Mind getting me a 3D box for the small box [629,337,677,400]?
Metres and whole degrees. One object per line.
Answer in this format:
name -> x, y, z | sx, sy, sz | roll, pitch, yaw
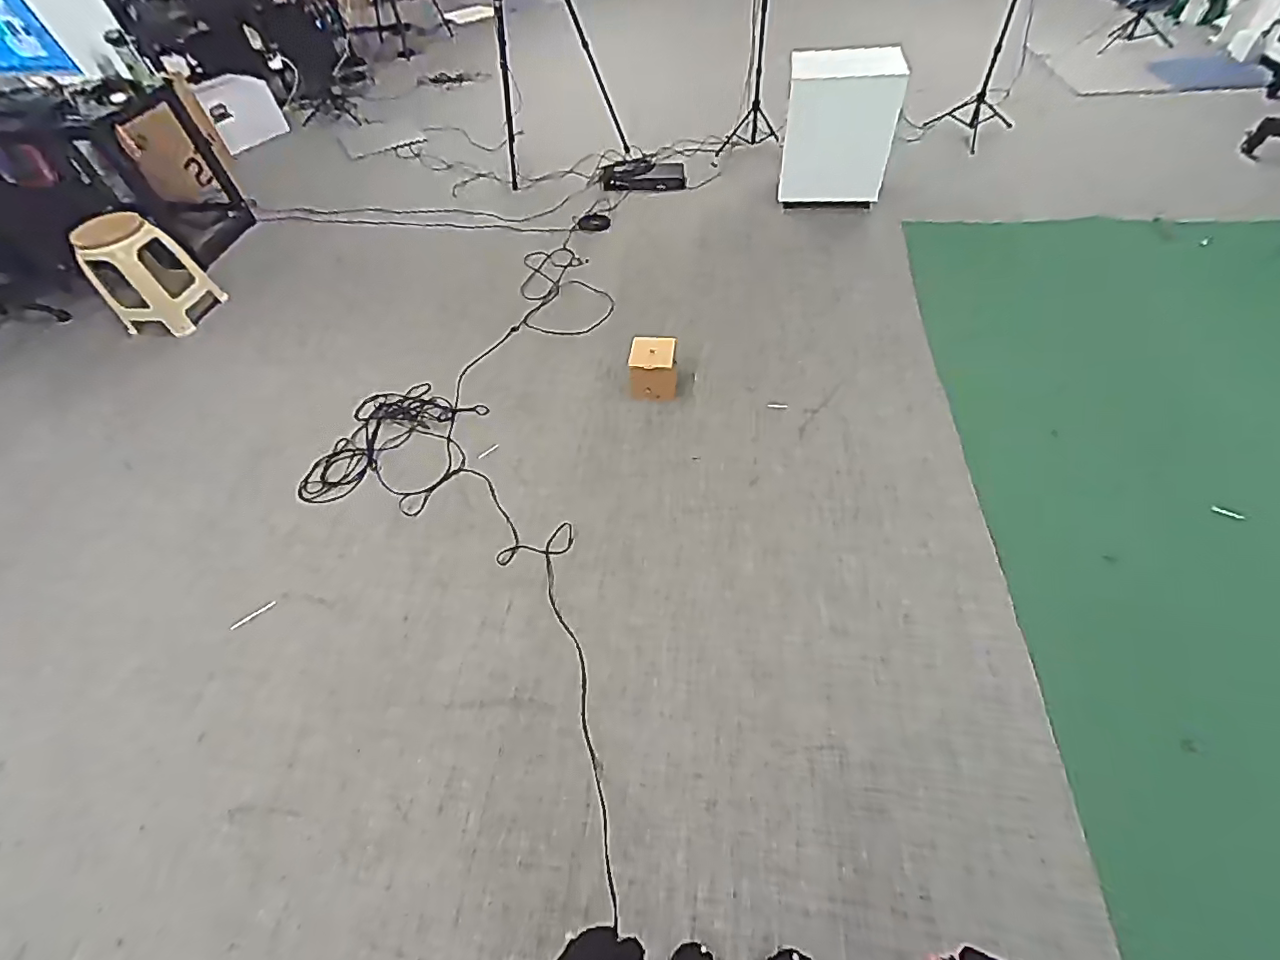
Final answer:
small box -> 0.055, -0.435, 2.109 | 0.168, 0.176, 0.179 | 3, 52, 9
